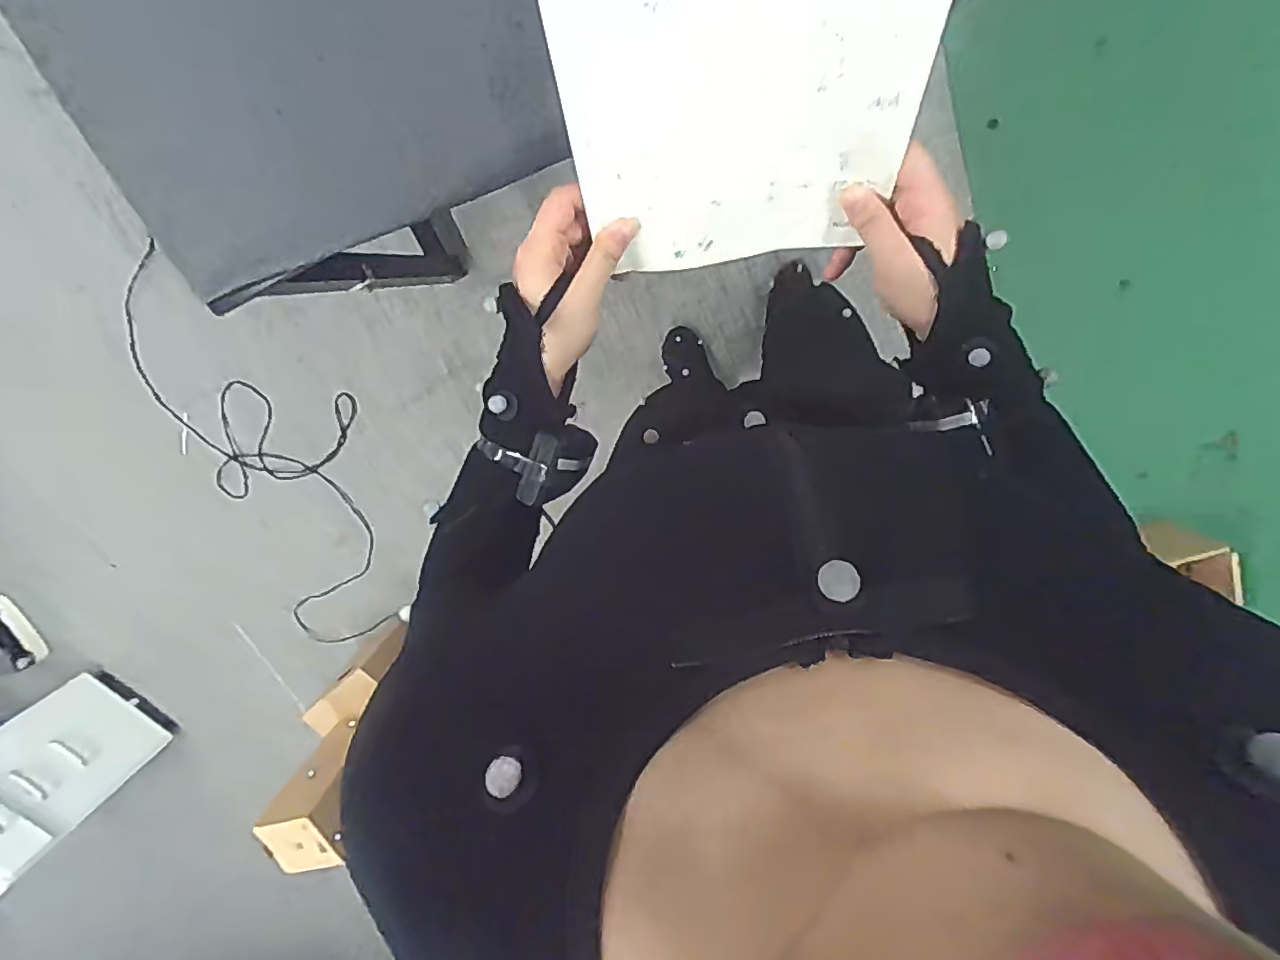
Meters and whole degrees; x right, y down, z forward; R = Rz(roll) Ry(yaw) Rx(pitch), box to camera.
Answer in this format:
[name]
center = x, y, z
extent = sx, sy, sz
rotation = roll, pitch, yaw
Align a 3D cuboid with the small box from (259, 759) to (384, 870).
[small box]
center = -0.799, 0.846, 1.374
extent = 0.179, 0.176, 0.168
rotation = -18, 109, 15
